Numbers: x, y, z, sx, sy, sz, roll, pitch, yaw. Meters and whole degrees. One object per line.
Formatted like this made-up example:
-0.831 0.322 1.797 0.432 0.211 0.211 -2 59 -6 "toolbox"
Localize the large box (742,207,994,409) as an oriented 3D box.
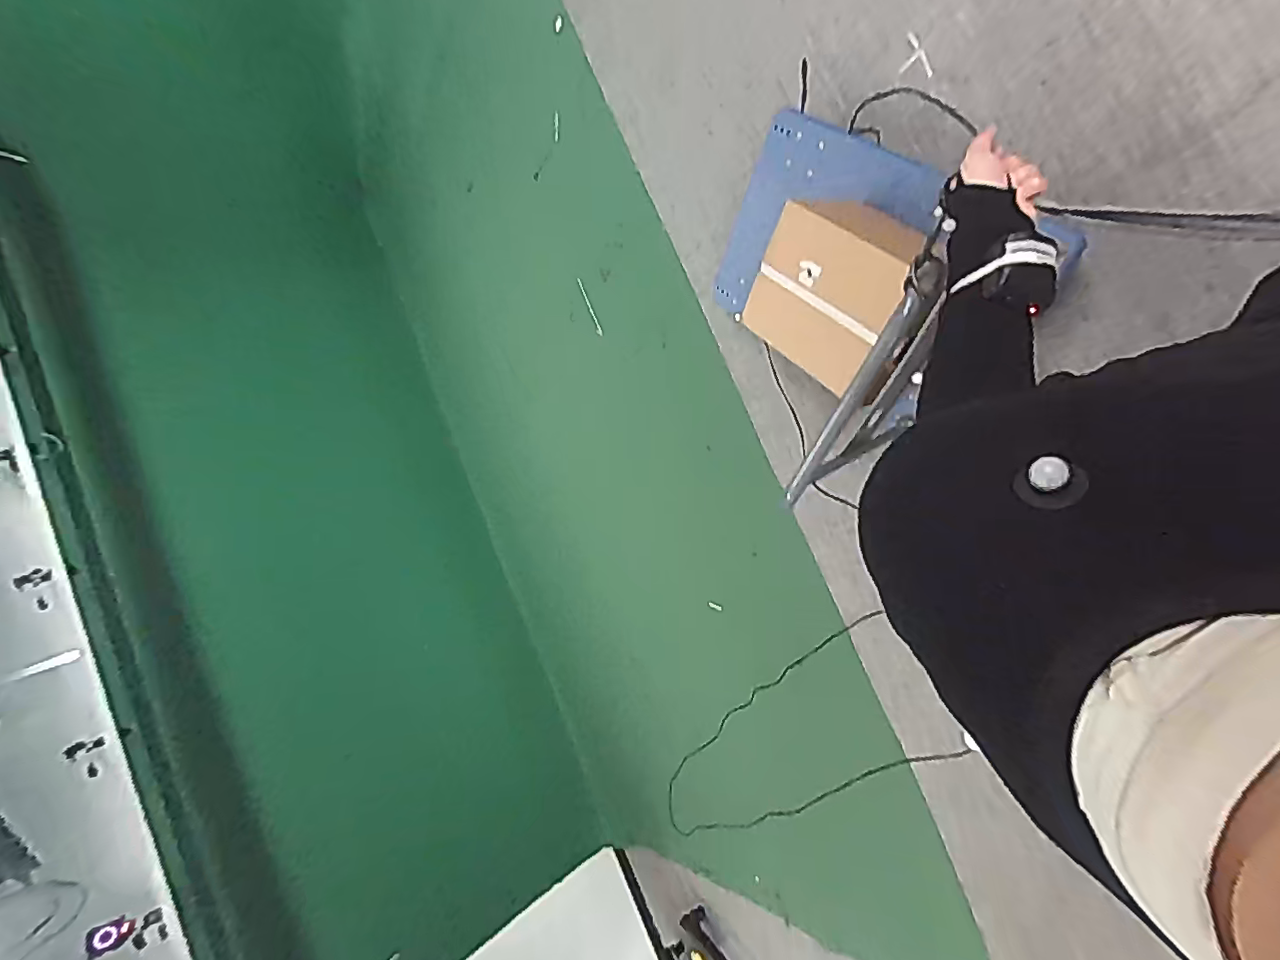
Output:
0.536 -0.431 1.321 0.408 0.320 0.320 48 138 30 "large box"
